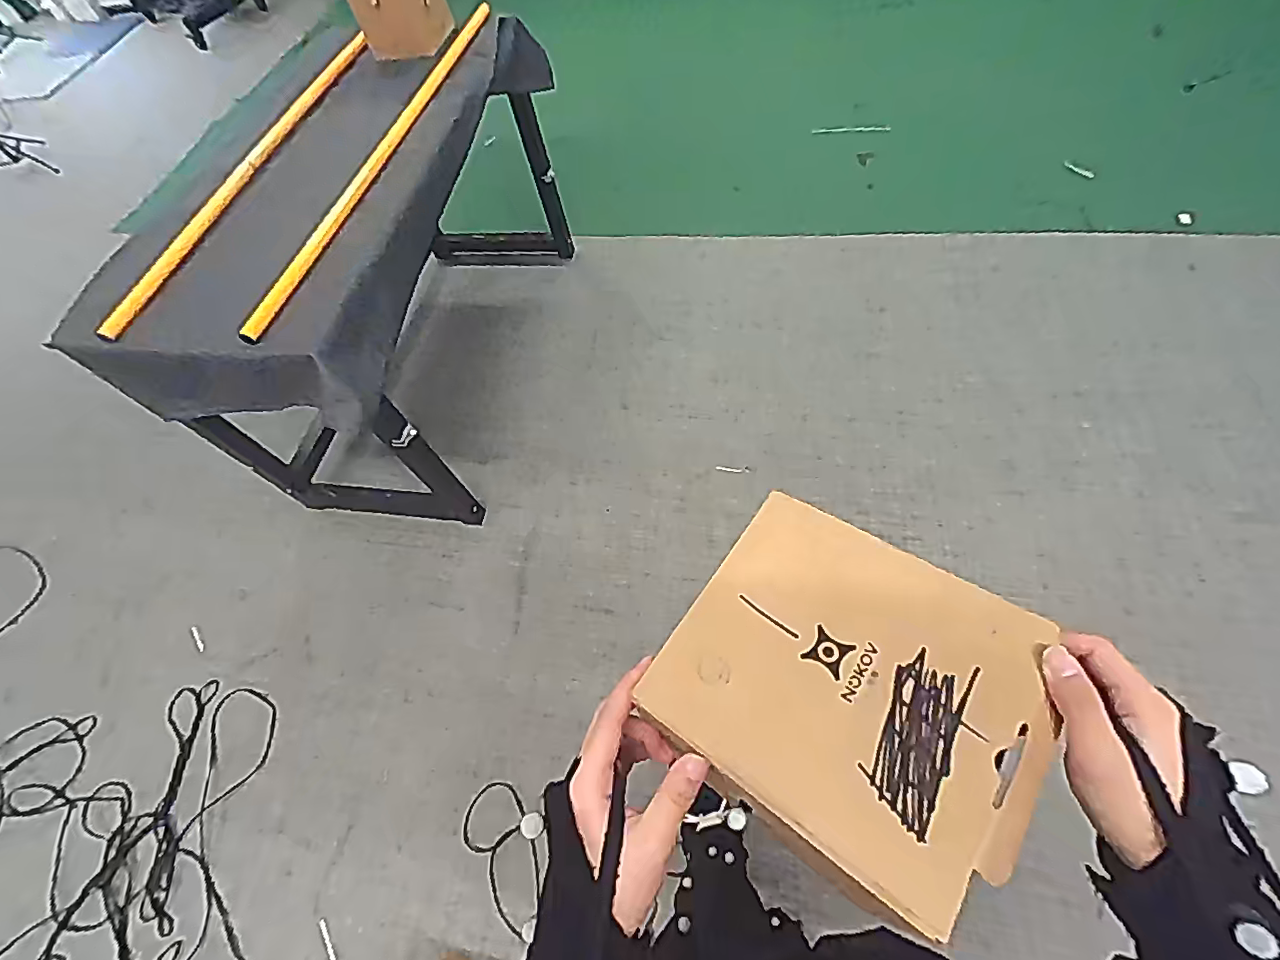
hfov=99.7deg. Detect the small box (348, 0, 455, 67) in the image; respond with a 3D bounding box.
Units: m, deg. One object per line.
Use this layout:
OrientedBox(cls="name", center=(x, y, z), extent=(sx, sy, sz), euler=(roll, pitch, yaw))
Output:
OrientedBox(cls="small box", center=(-0.608, -1.205, 1.394), extent=(0.179, 0.176, 0.168), euler=(6, 62, 13))
